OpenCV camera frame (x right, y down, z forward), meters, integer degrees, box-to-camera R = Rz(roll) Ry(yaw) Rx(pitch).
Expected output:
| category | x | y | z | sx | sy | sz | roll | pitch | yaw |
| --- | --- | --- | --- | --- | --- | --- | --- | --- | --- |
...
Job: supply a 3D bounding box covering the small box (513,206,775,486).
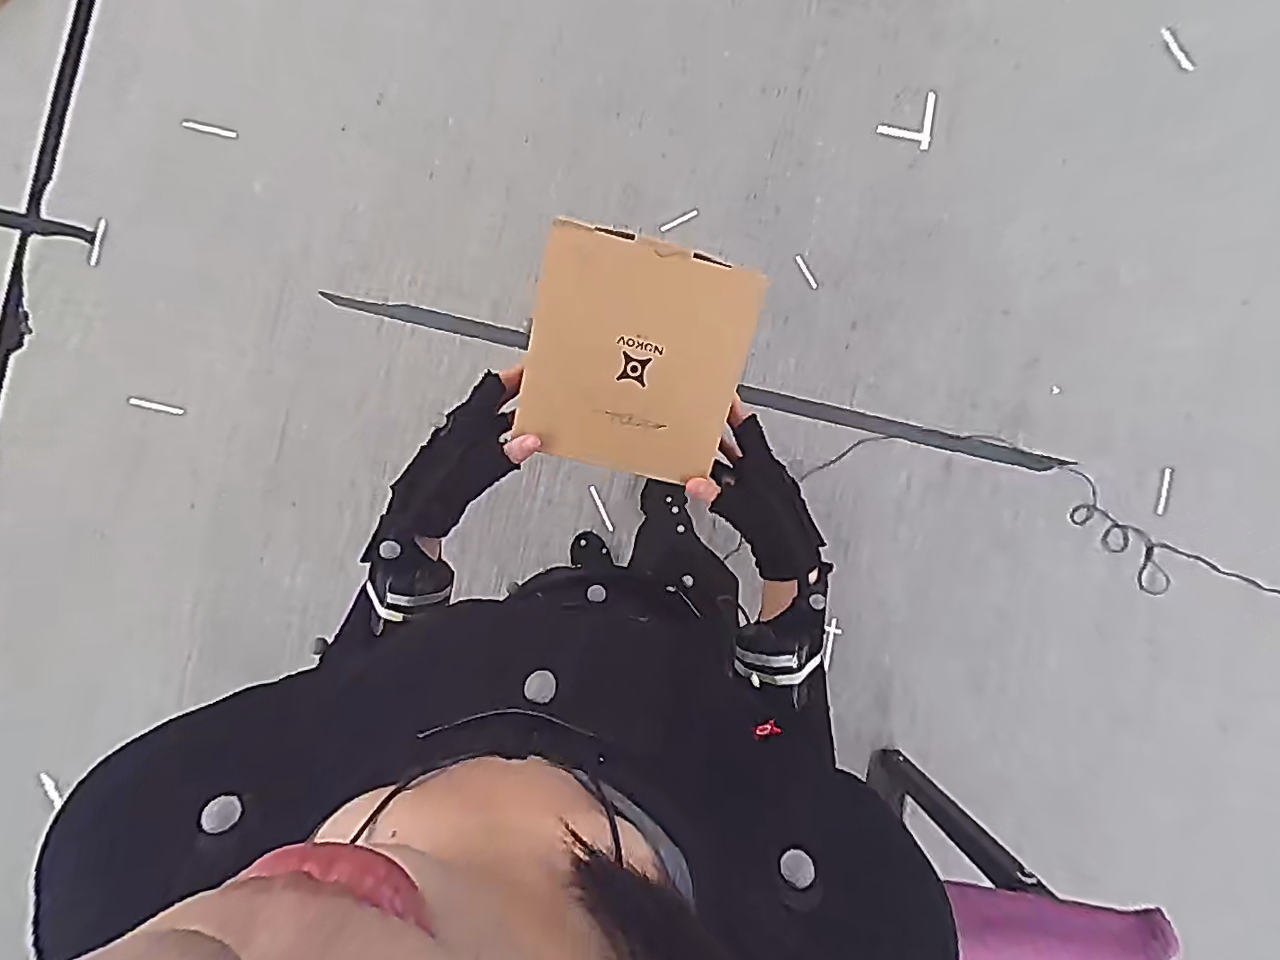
| category | x | y | z | sx | sy | sz | roll | pitch | yaw |
| --- | --- | --- | --- | --- | --- | --- | --- | --- | --- |
| small box | -0.003 | -0.118 | 0.485 | 0.168 | 0.176 | 0.179 | 14 | 108 | -6 |
